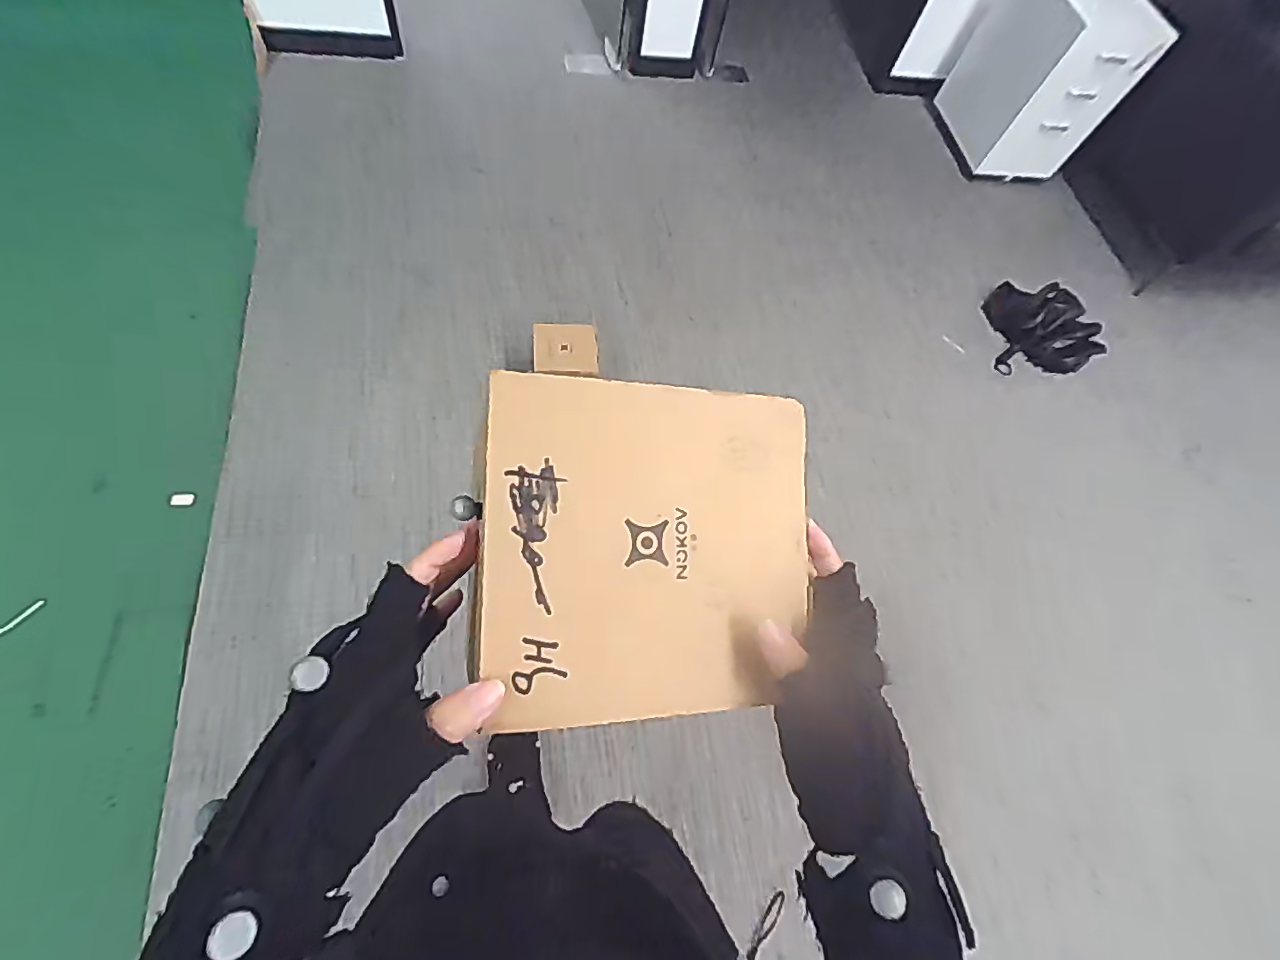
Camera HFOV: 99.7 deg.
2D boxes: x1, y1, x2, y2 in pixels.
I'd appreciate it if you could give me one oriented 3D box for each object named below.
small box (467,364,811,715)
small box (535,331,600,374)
[{"bbox_3d":[-0.014,0.040,0.352,0.179,0.176,0.168,3,81,-19],"label":"small box"},{"bbox_3d":[-0.212,-0.310,1.563,0.179,0.176,0.168,-2,64,-10],"label":"small box"}]
